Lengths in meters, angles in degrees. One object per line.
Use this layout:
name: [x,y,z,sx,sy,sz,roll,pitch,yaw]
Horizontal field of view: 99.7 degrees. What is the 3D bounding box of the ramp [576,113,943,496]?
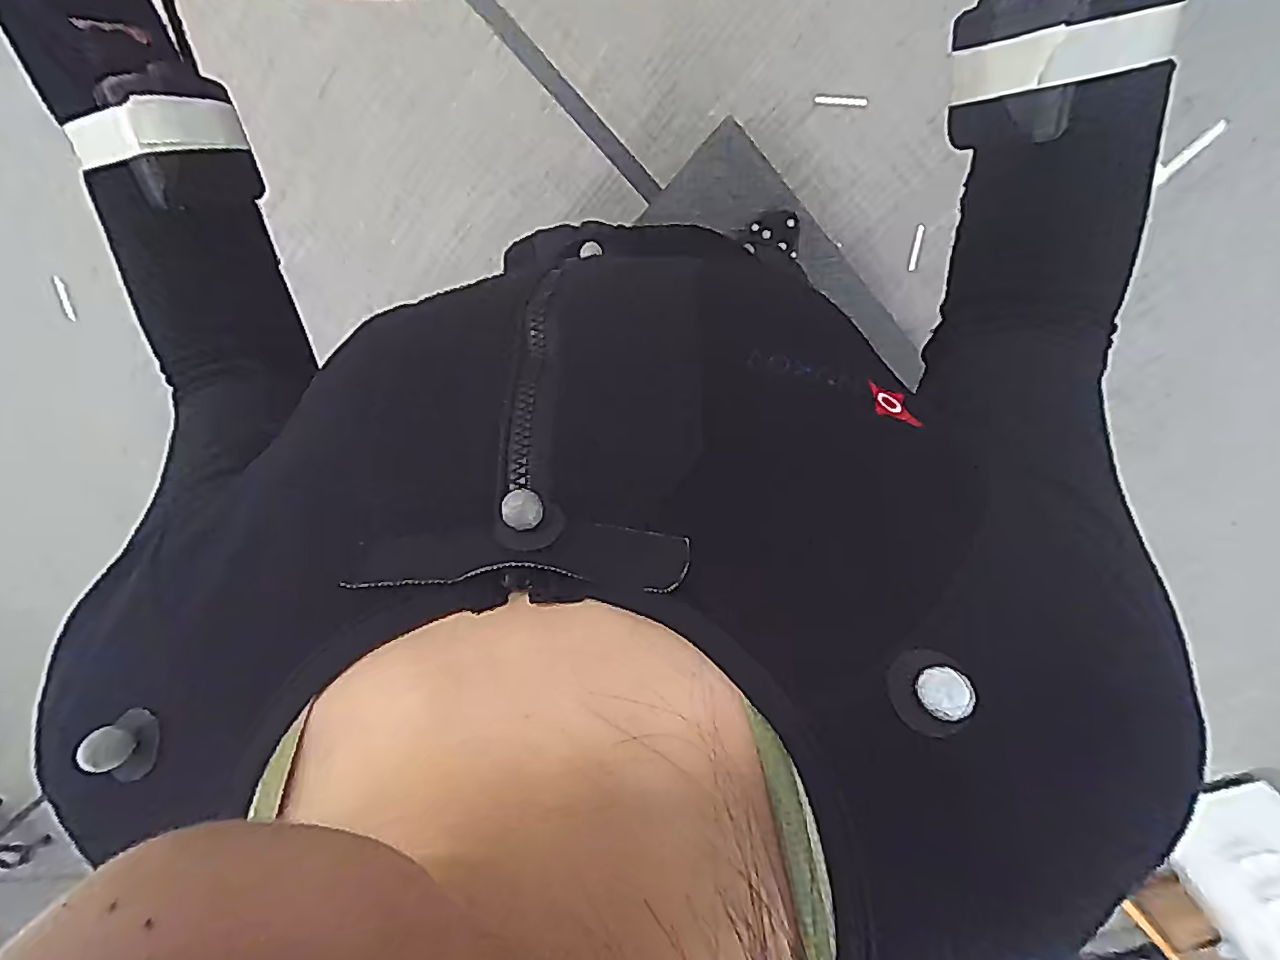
ramp: [0.362,-0.372,1.453,0.991,0.206,0.509,40,113,-14]
